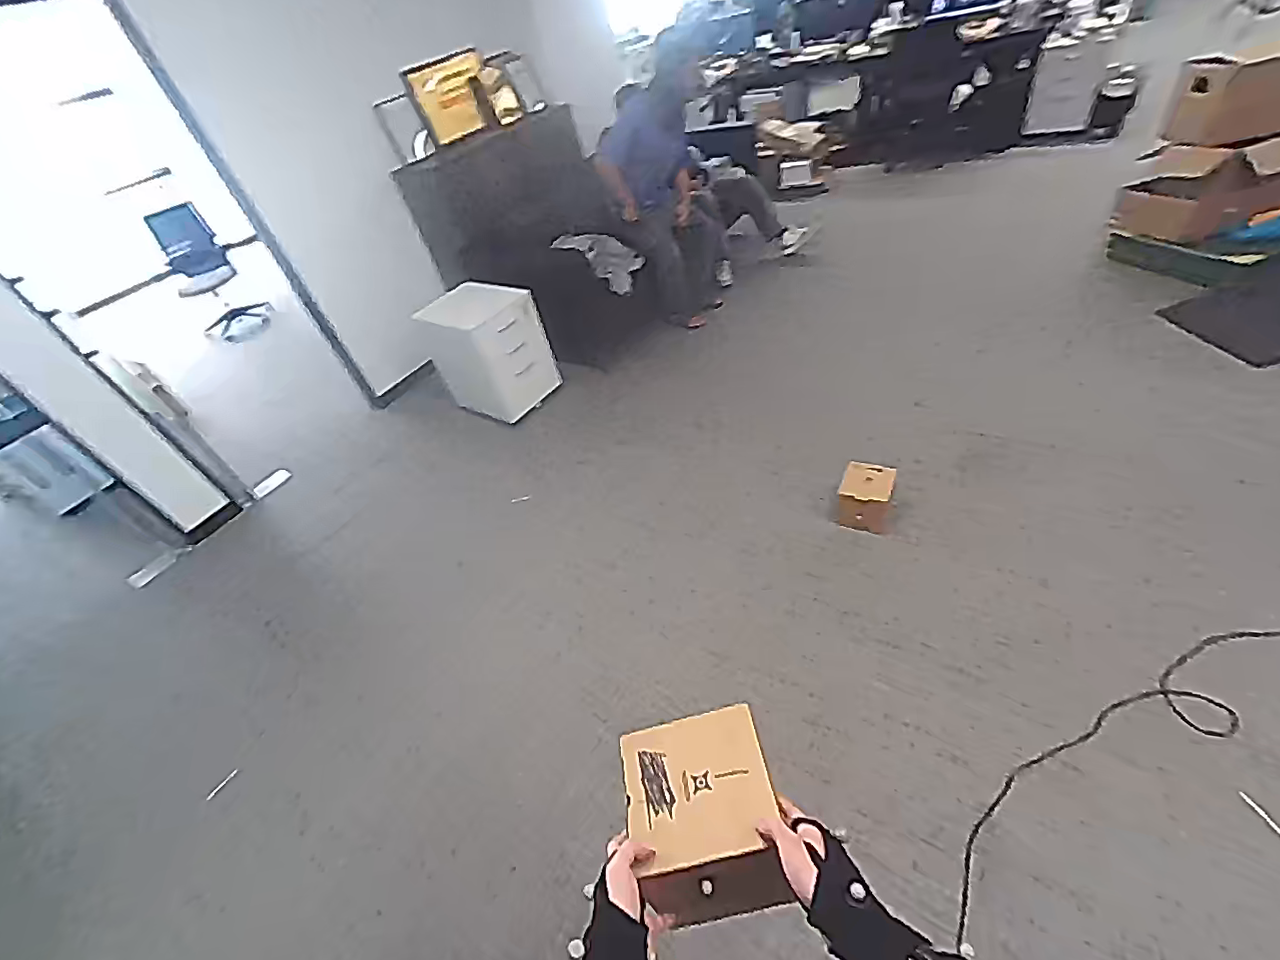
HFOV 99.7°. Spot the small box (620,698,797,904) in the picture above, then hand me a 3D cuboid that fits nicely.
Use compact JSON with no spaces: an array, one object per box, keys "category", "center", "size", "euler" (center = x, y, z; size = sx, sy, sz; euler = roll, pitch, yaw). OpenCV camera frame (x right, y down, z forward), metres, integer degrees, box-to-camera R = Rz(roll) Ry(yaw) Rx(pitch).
[{"category":"small box","center":[0.086,0.412,0.690],"size":[0.179,0.176,0.168],"euler":[-15,36,10]}]

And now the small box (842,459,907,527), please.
[{"category":"small box","center":[0.839,0.050,1.943],"size":[0.179,0.176,0.168],"euler":[-10,39,10]}]
